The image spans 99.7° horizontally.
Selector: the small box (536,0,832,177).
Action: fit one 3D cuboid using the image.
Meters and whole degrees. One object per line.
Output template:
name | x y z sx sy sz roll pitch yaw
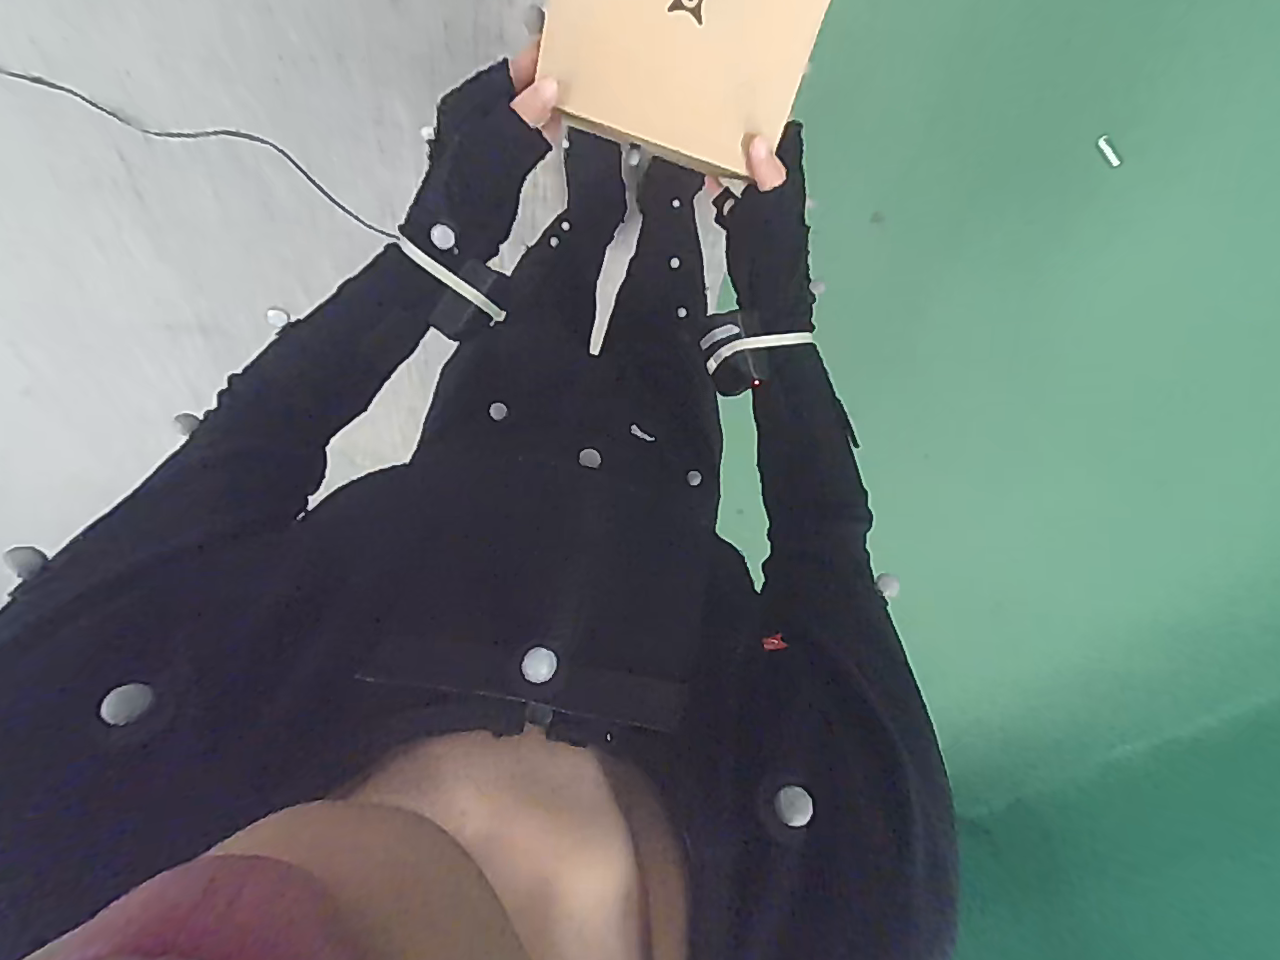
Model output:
small box | 0.030 -0.339 0.387 0.168 0.176 0.179 12 118 -13
